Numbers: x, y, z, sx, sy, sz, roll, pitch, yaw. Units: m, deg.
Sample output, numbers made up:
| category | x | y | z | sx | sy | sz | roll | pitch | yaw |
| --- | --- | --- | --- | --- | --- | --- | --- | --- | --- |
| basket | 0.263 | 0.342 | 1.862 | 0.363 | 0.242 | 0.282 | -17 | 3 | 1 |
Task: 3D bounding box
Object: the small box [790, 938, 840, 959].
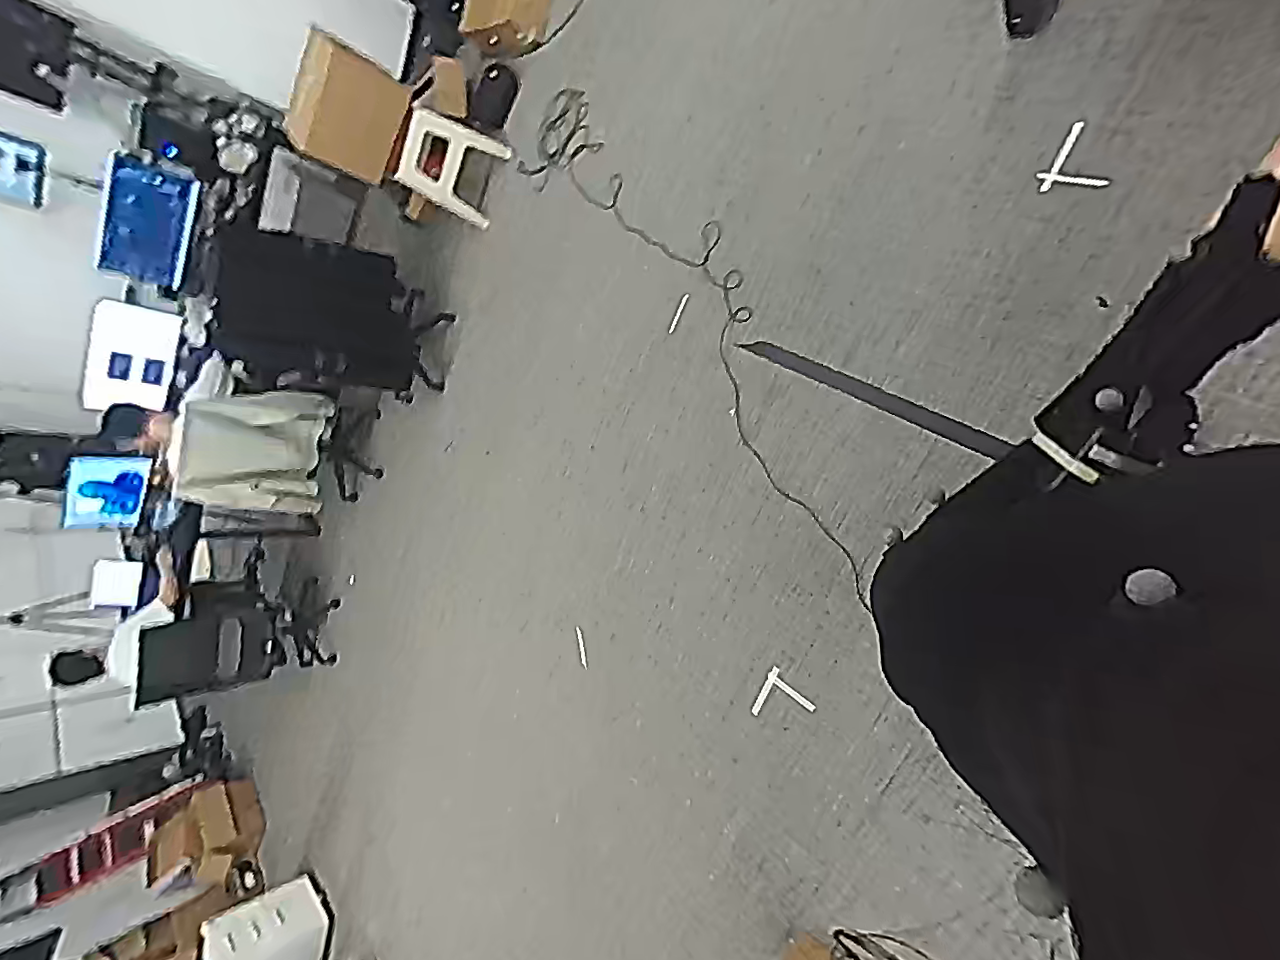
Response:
| category | x | y | z | sx | sy | sz | roll | pitch | yaw |
| --- | --- | --- | --- | --- | --- | --- | --- | --- | --- |
| small box | 0.468 | 1.379 | 1.436 | 0.179 | 0.176 | 0.168 | 24 | 104 | 36 |
